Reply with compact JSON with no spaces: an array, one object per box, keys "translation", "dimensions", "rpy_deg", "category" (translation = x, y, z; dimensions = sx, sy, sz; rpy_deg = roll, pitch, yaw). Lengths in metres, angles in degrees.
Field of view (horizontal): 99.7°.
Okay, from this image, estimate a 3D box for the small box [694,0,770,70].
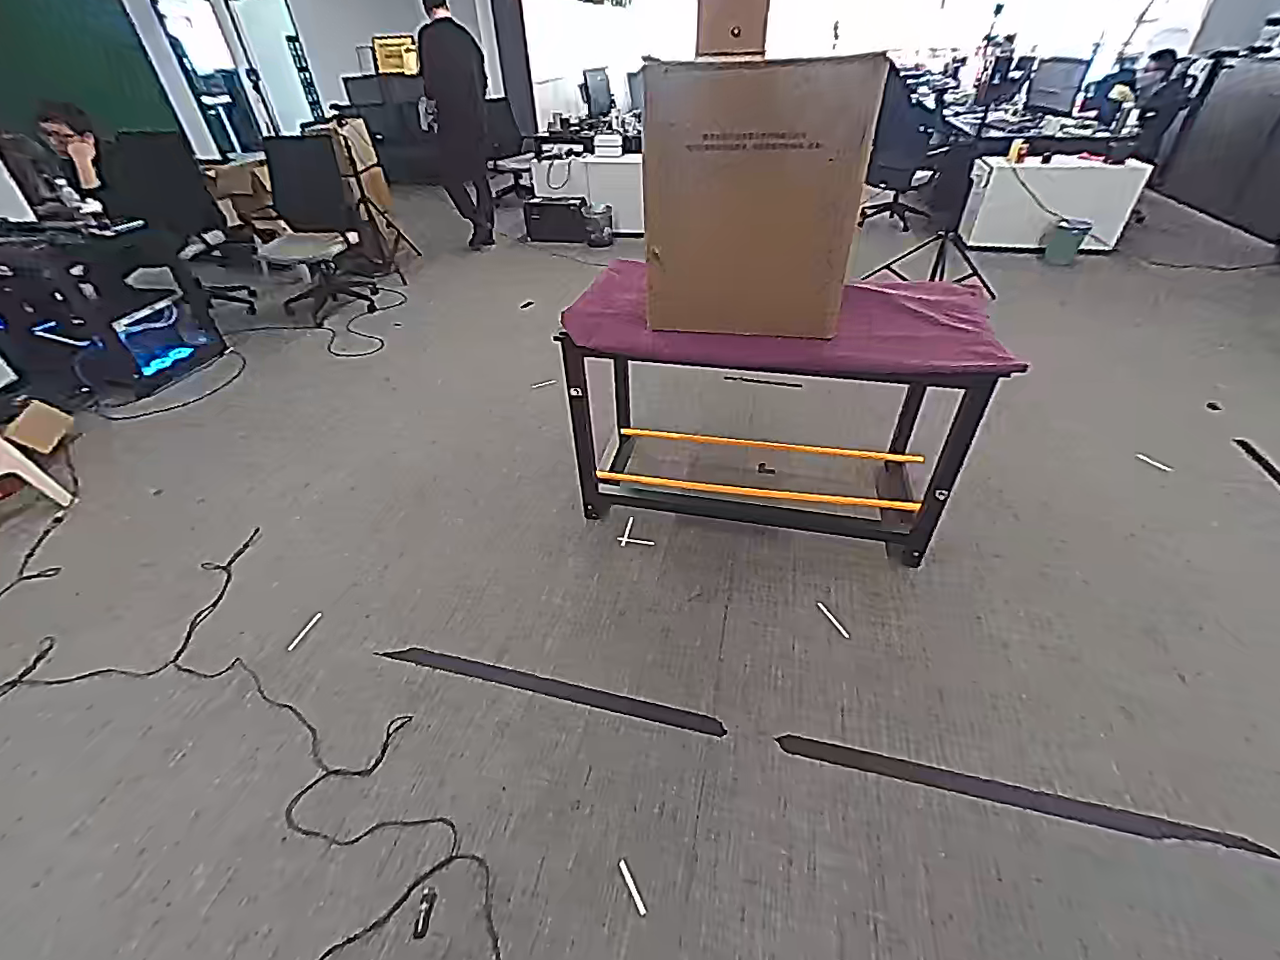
[{"translation":[0.226,-1.126,1.331],"dimensions":[0.179,0.176,0.168],"rpy_deg":[5,40,8],"category":"small box"}]
